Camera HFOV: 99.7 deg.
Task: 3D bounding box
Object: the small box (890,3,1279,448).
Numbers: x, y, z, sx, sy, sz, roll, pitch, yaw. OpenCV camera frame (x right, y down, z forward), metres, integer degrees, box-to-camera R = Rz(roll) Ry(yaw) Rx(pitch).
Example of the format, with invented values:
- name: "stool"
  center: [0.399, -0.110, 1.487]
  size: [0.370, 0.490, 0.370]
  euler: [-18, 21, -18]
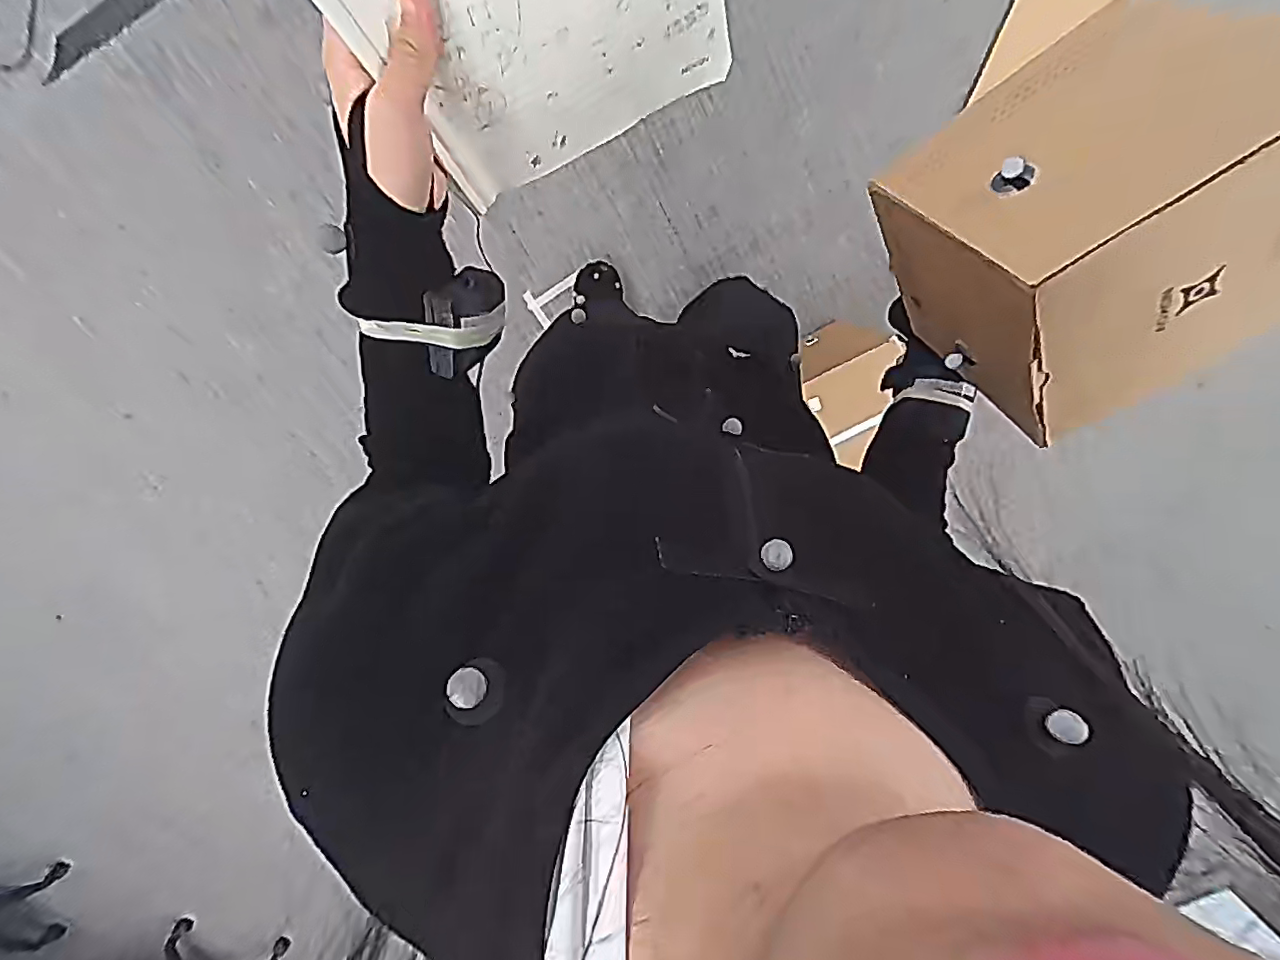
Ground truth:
- name: "small box"
  center: [0.293, -0.161, 0.358]
  size: [0.179, 0.176, 0.168]
  euler: [-35, 136, 16]
